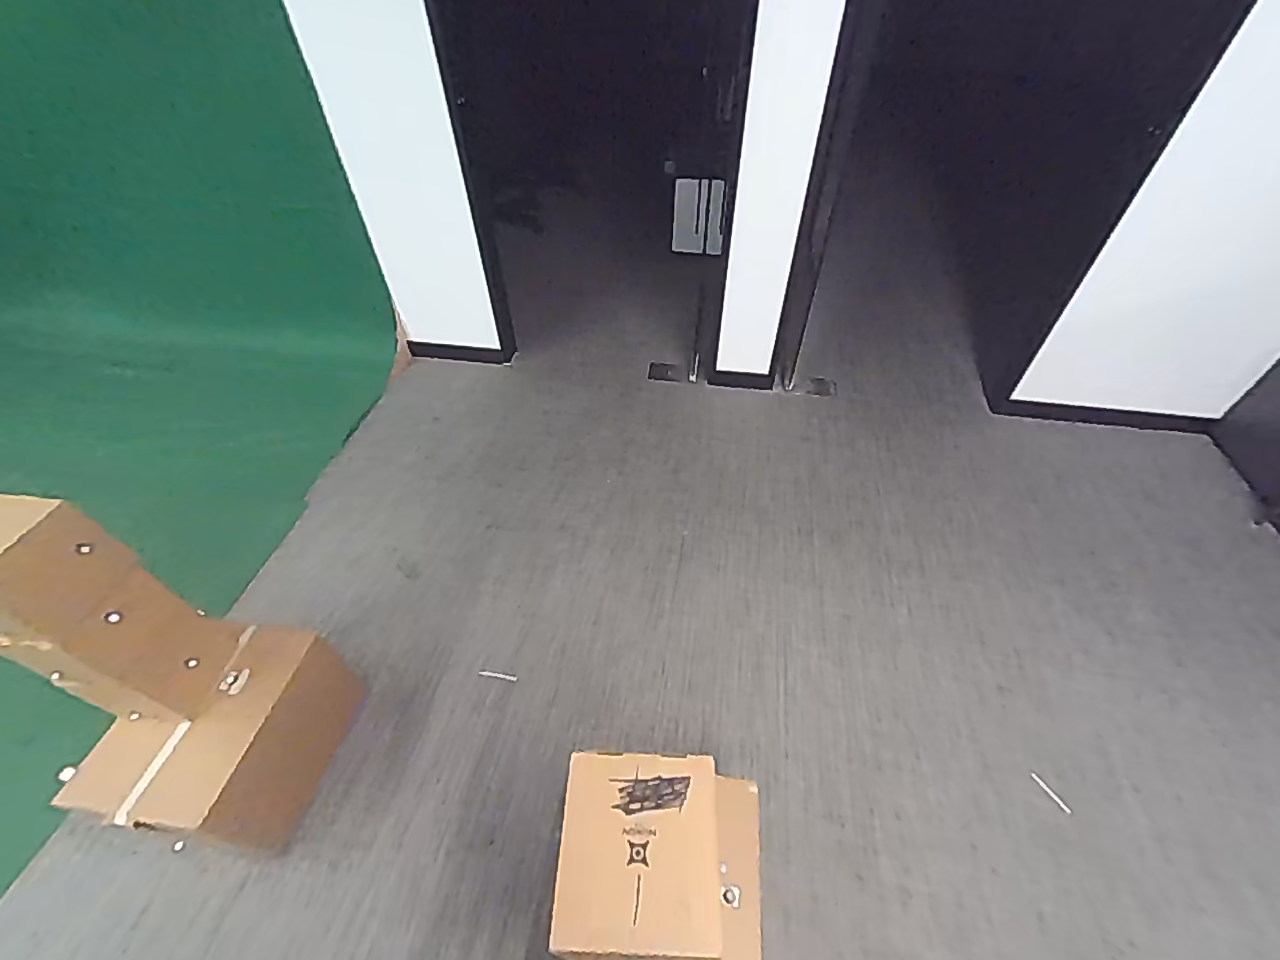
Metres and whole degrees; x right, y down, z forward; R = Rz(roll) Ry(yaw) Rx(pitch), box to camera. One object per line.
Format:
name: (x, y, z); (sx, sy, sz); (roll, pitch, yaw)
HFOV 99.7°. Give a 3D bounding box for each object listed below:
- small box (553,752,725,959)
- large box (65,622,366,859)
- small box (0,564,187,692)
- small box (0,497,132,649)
small box: (0.004, 0.433, 0.618); (0.168, 0.176, 0.179); (0, 47, 3)
large box: (-0.925, 0.599, 1.256); (0.320, 0.320, 0.408); (5, 46, 6)
small box: (-1.007, 0.270, 1.008); (0.168, 0.176, 0.179); (3, 48, 8)
small box: (-1.011, 0.153, 0.894); (0.168, 0.176, 0.179); (4, 48, 10)
